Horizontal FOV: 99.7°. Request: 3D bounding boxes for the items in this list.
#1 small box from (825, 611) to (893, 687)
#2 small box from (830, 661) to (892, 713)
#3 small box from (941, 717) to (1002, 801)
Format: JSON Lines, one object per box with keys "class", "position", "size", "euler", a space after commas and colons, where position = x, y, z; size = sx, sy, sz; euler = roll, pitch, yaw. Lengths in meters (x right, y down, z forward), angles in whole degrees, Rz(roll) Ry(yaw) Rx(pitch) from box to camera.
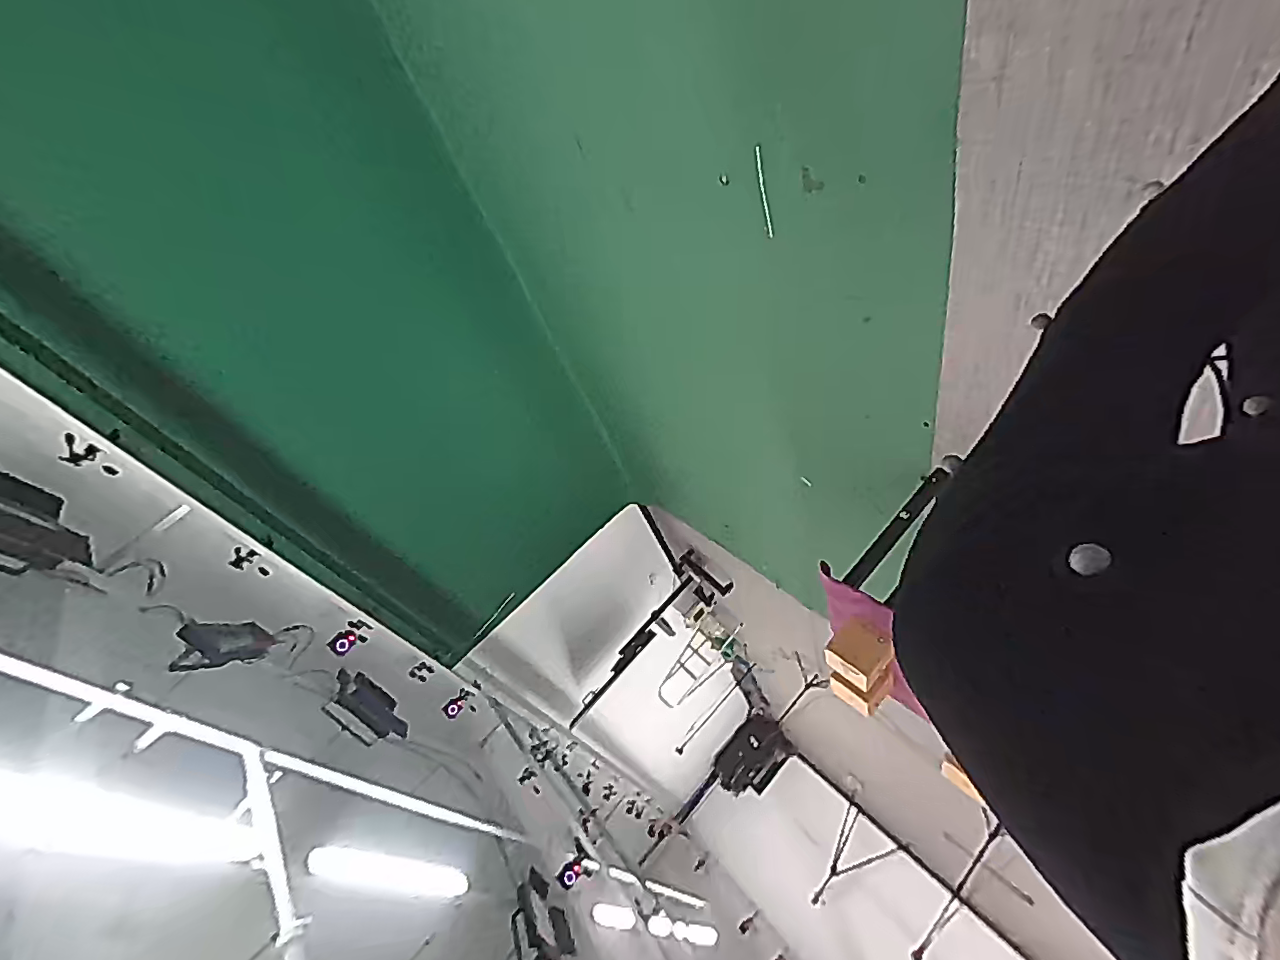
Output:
{"class": "small box", "position": [0.782, 0.598, 1.928], "size": [0.168, 0.176, 0.179], "euler": [33, 162, 37]}
{"class": "small box", "position": [0.876, 0.777, 2.138], "size": [0.168, 0.176, 0.179], "euler": [31, 158, 40]}
{"class": "small box", "position": [1.161, 0.950, 1.849], "size": [0.168, 0.176, 0.179], "euler": [32, 158, 42]}
